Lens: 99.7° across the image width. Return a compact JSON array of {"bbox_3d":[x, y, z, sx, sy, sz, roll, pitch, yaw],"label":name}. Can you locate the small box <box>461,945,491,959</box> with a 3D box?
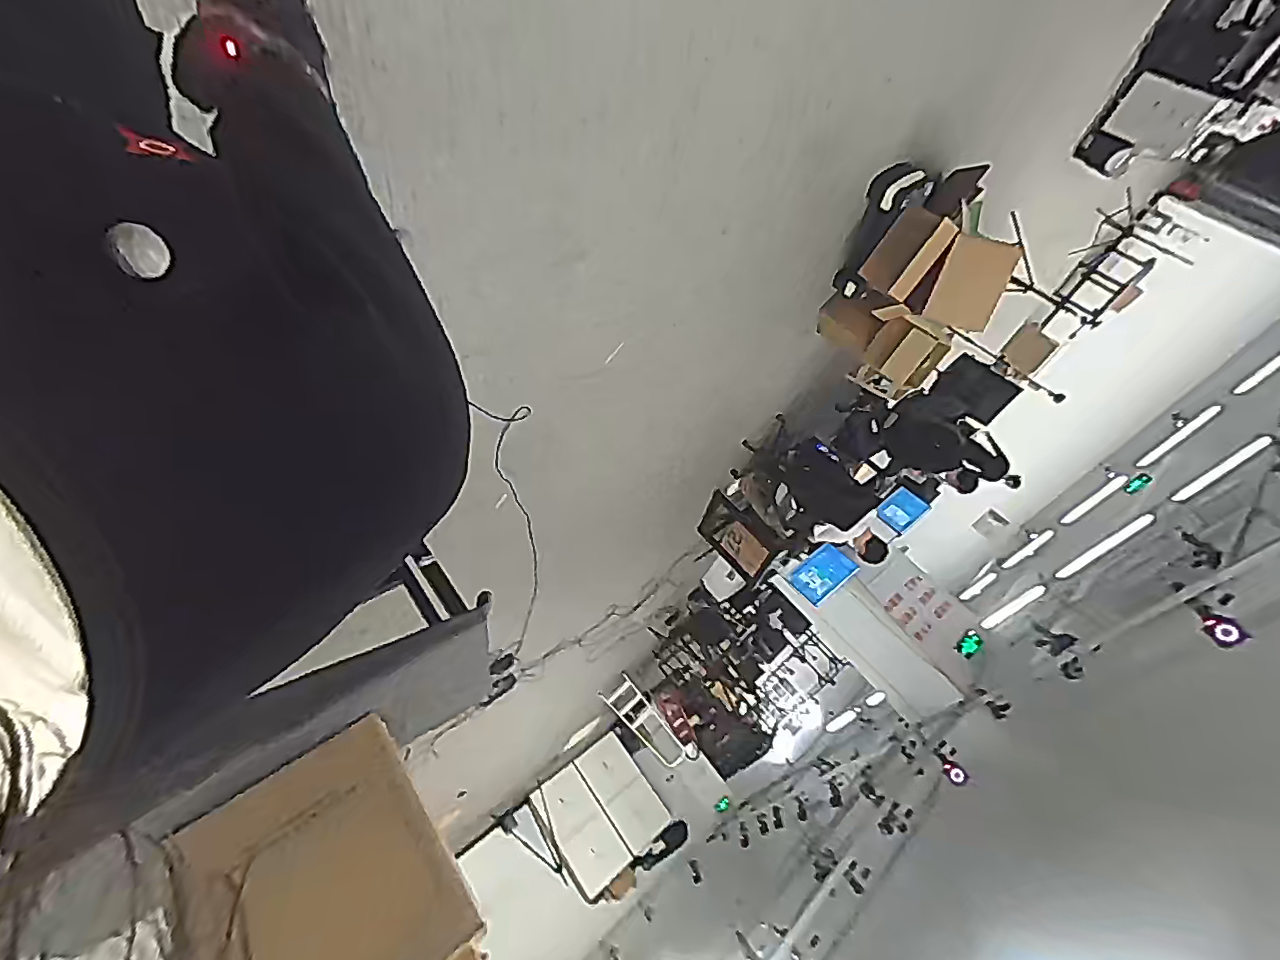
[{"bbox_3d":[-0.411,1.250,1.280,0.168,0.176,0.179,-30,150,-30],"label":"small box"}]
